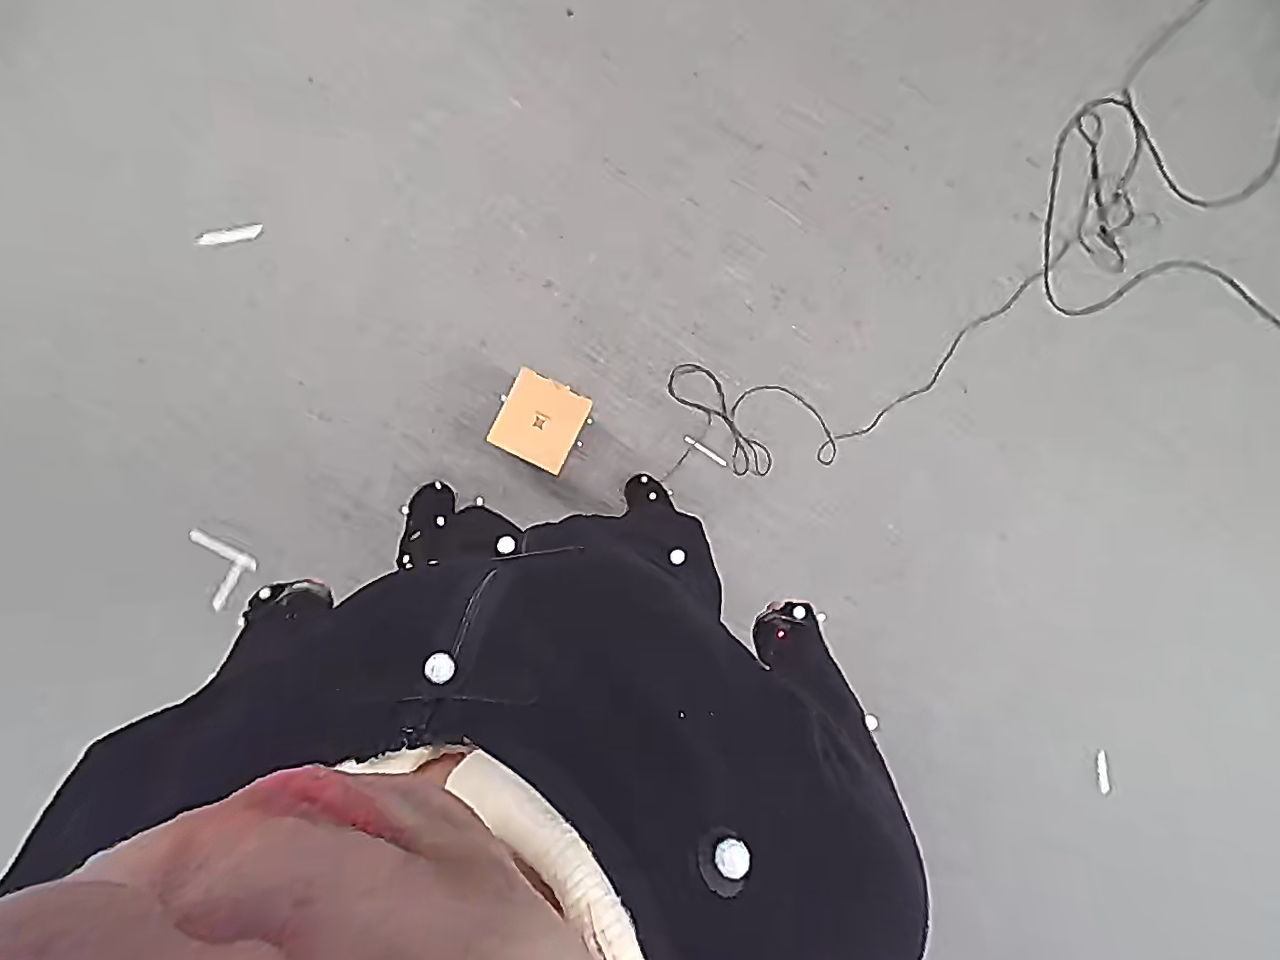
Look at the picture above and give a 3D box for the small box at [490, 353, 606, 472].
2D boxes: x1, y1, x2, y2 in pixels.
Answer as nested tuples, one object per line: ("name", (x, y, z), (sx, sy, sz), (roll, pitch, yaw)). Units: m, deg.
("small box", (-0.193, -0.144, 1.167), (0.179, 0.176, 0.168), (21, 72, 11))
